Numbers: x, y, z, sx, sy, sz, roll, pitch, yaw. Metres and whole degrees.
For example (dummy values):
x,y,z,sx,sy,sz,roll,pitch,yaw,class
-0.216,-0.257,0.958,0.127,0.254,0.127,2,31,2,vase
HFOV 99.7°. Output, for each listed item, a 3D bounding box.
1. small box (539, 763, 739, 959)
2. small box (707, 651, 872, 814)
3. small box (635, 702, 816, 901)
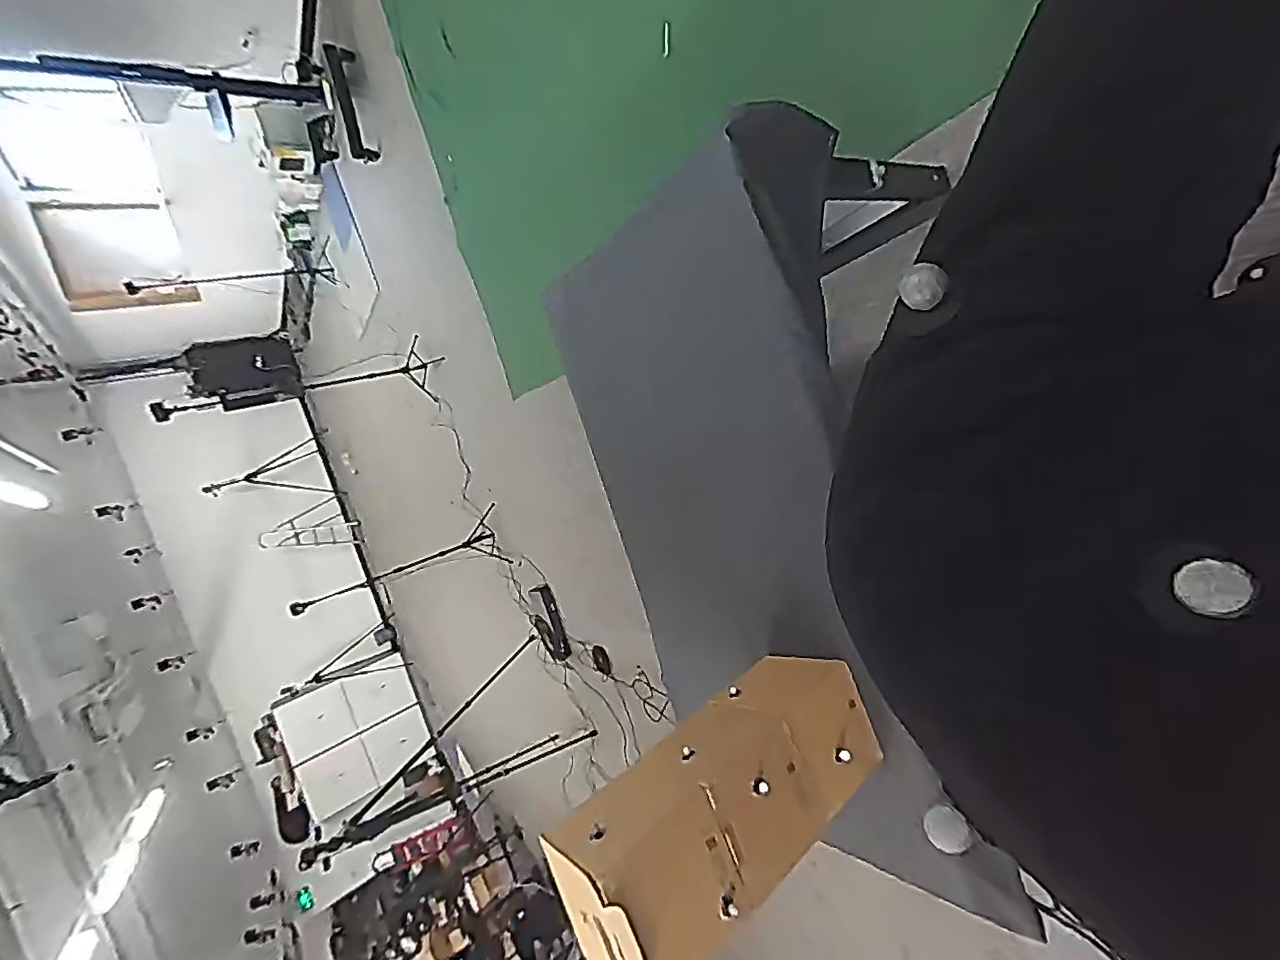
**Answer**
x,y,z,sx,sy,sz,roll,pitch,yaw,class
0.002,0.493,0.690,0.179,0.176,0.168,-27,85,55,small box
0.249,0.394,0.881,0.179,0.176,0.168,-23,89,55,small box
0.128,0.444,0.784,0.179,0.176,0.168,-24,87,56,small box
